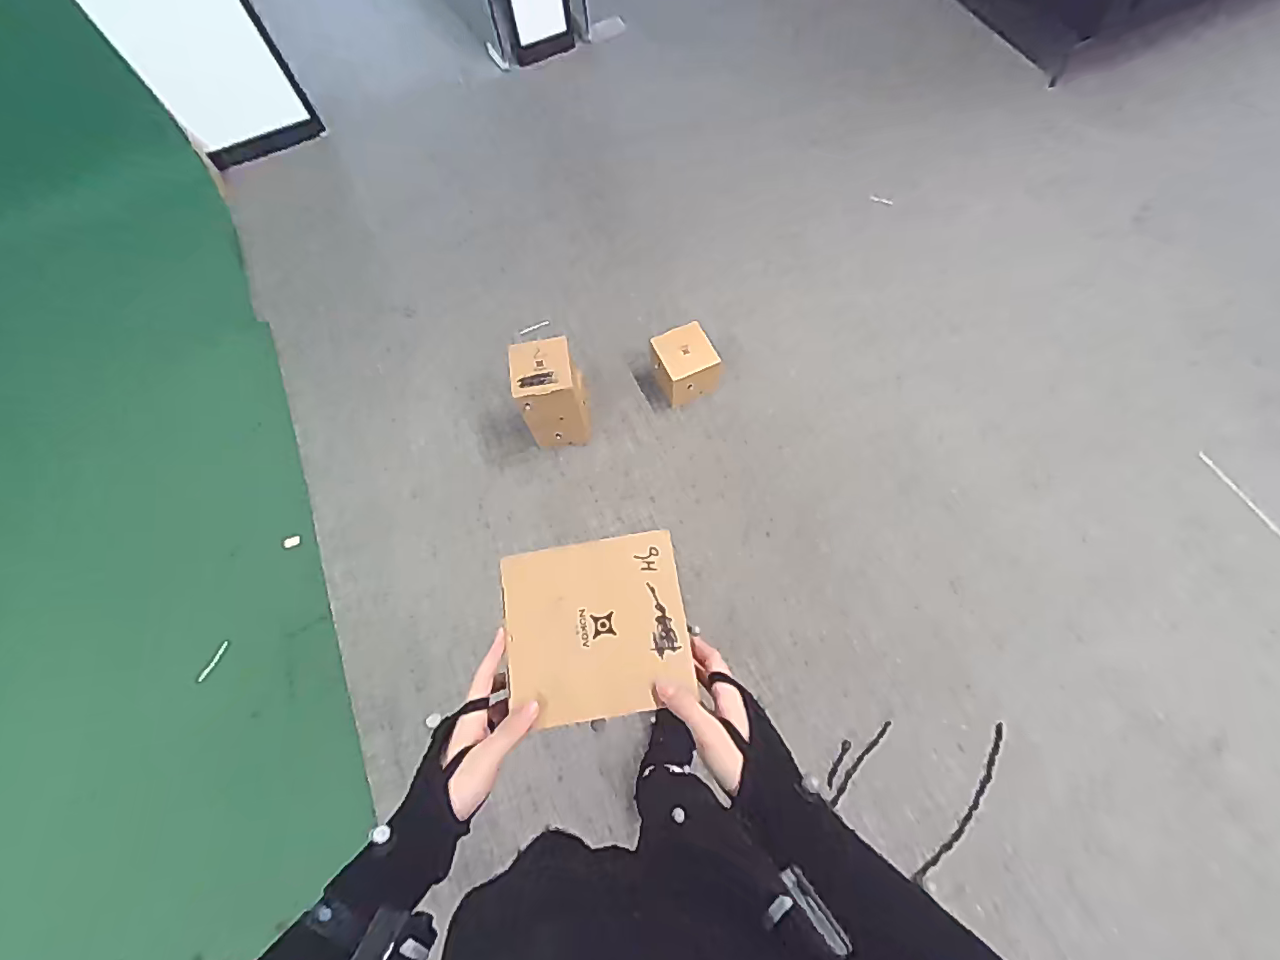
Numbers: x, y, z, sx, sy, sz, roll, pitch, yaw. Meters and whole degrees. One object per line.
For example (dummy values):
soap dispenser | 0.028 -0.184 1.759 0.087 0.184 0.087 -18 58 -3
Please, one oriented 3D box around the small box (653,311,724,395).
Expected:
small box | 0.151 -0.390 1.705 0.168 0.176 0.179 -22 68 -6

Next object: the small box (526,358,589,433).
small box | -0.247 -0.254 1.667 0.168 0.176 0.179 -3 67 1

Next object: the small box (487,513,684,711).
small box | -0.049 0.145 0.573 0.179 0.176 0.168 -7 71 1
